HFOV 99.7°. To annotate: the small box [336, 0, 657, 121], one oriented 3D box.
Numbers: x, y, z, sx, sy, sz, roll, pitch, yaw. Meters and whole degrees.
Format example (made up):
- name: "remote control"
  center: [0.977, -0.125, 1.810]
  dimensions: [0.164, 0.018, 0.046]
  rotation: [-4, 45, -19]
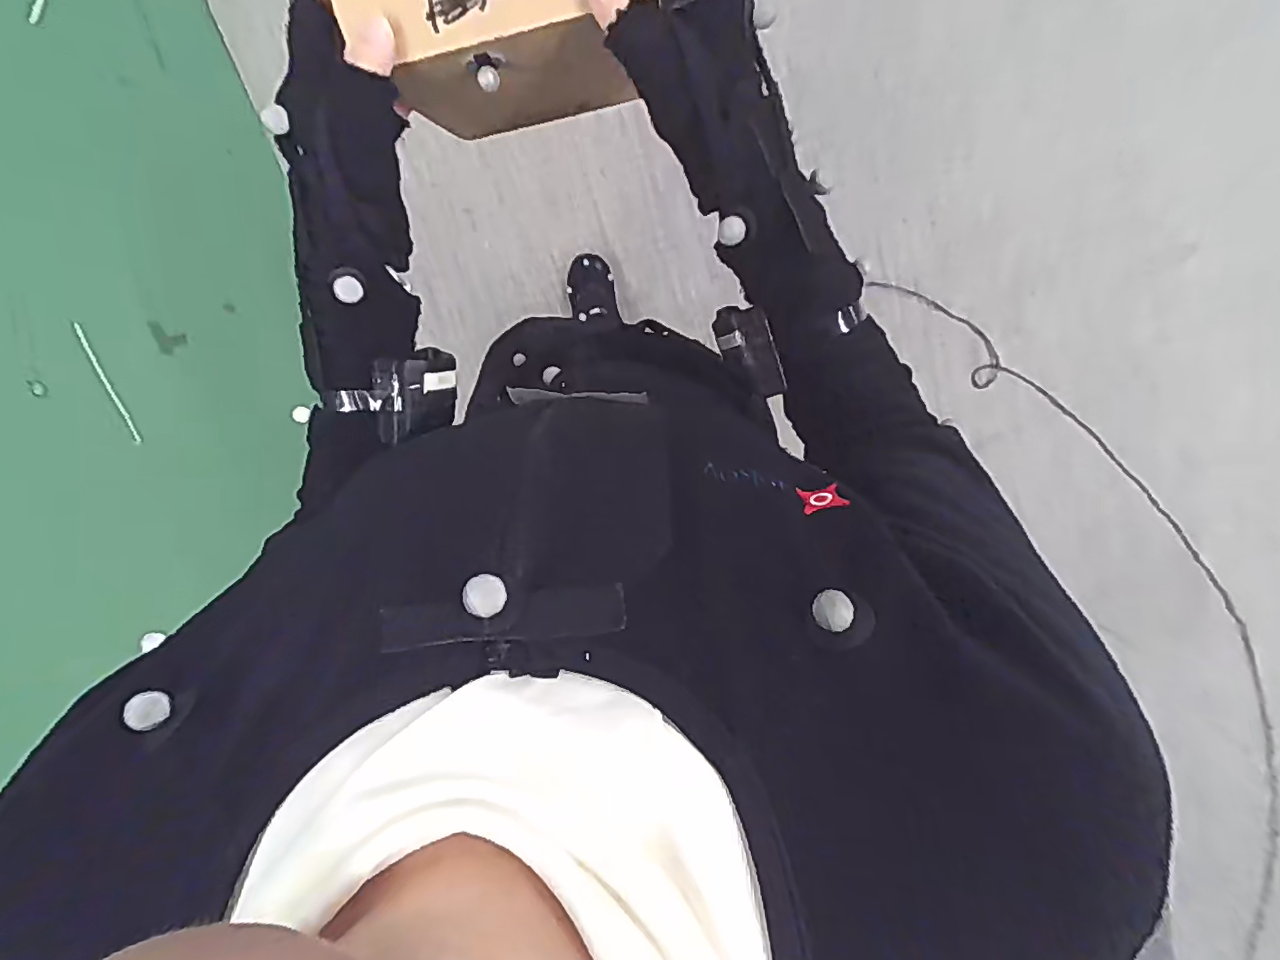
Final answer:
- name: "small box"
  center: [-0.084, -0.348, 0.320]
  dimensions: [0.168, 0.176, 0.179]
  rotation: [-9, 111, 7]
